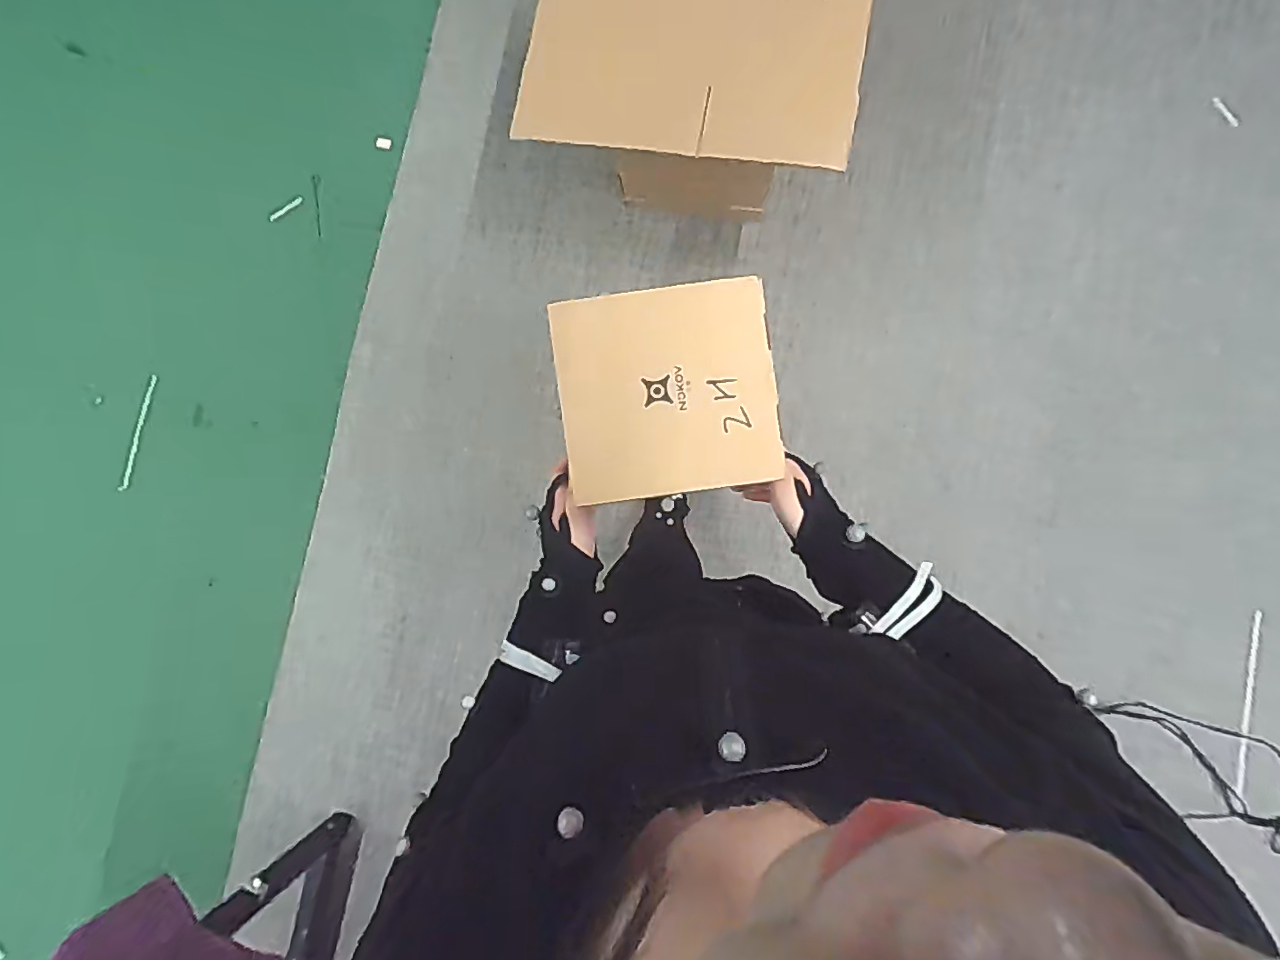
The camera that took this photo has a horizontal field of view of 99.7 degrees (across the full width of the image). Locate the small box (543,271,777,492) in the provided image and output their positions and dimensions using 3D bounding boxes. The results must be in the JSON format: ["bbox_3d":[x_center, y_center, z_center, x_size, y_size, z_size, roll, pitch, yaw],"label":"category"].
[{"bbox_3d":[0.017,-0.077,0.512,0.179,0.176,0.168,-7,90,0],"label":"small box"}]
